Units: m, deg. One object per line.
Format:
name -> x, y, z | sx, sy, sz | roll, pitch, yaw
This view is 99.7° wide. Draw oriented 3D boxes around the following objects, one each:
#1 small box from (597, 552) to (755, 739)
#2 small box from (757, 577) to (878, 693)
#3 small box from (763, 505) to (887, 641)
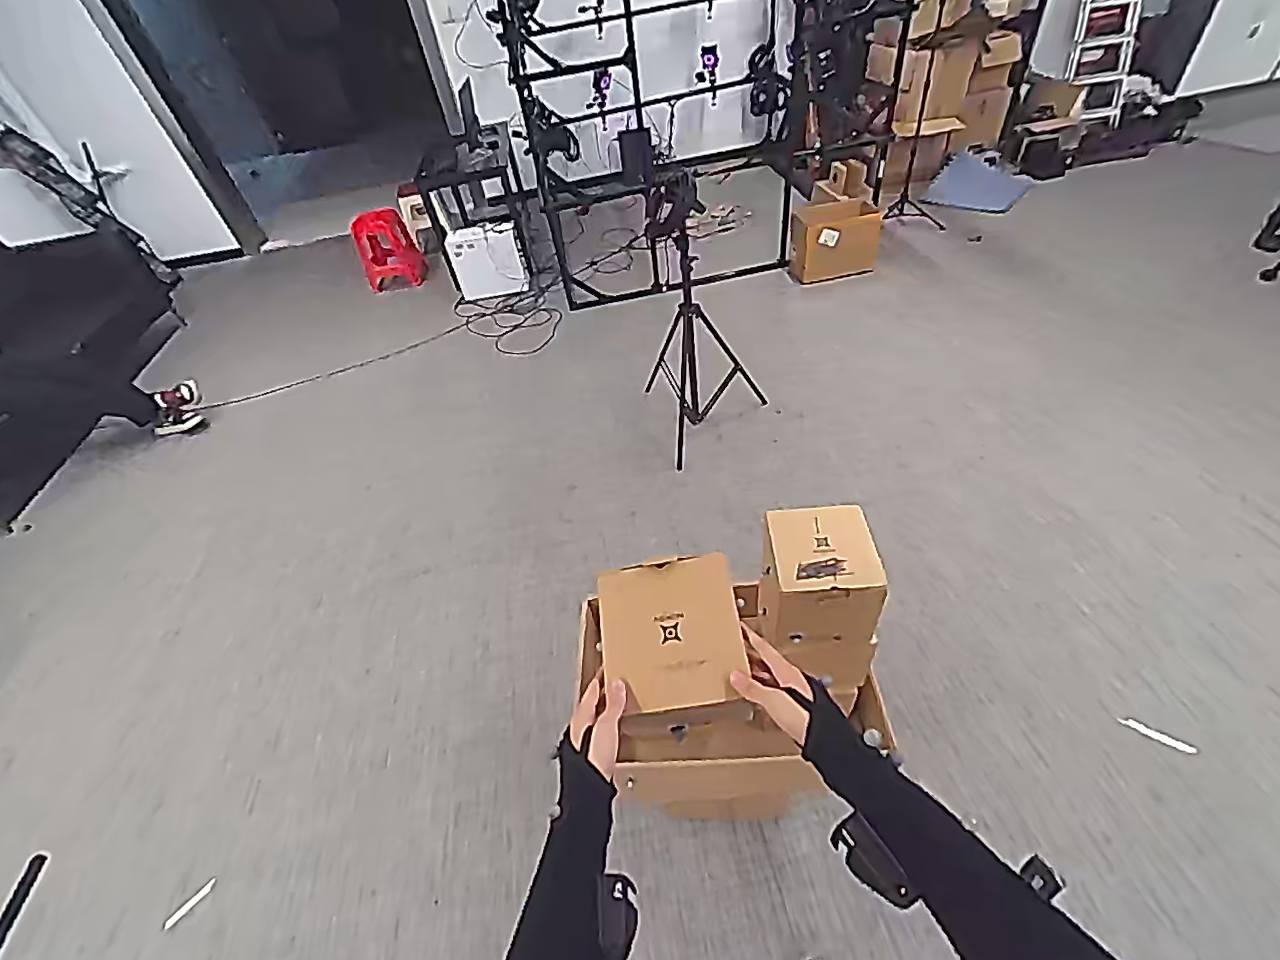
small box -> 0.044, 0.215, 0.689 | 0.168, 0.176, 0.179 | -10, 57, 4
small box -> 0.330, 0.294, 1.044 | 0.179, 0.176, 0.168 | -6, 44, 2
small box -> 0.308, 0.167, 0.940 | 0.168, 0.176, 0.179 | -4, 44, 6
